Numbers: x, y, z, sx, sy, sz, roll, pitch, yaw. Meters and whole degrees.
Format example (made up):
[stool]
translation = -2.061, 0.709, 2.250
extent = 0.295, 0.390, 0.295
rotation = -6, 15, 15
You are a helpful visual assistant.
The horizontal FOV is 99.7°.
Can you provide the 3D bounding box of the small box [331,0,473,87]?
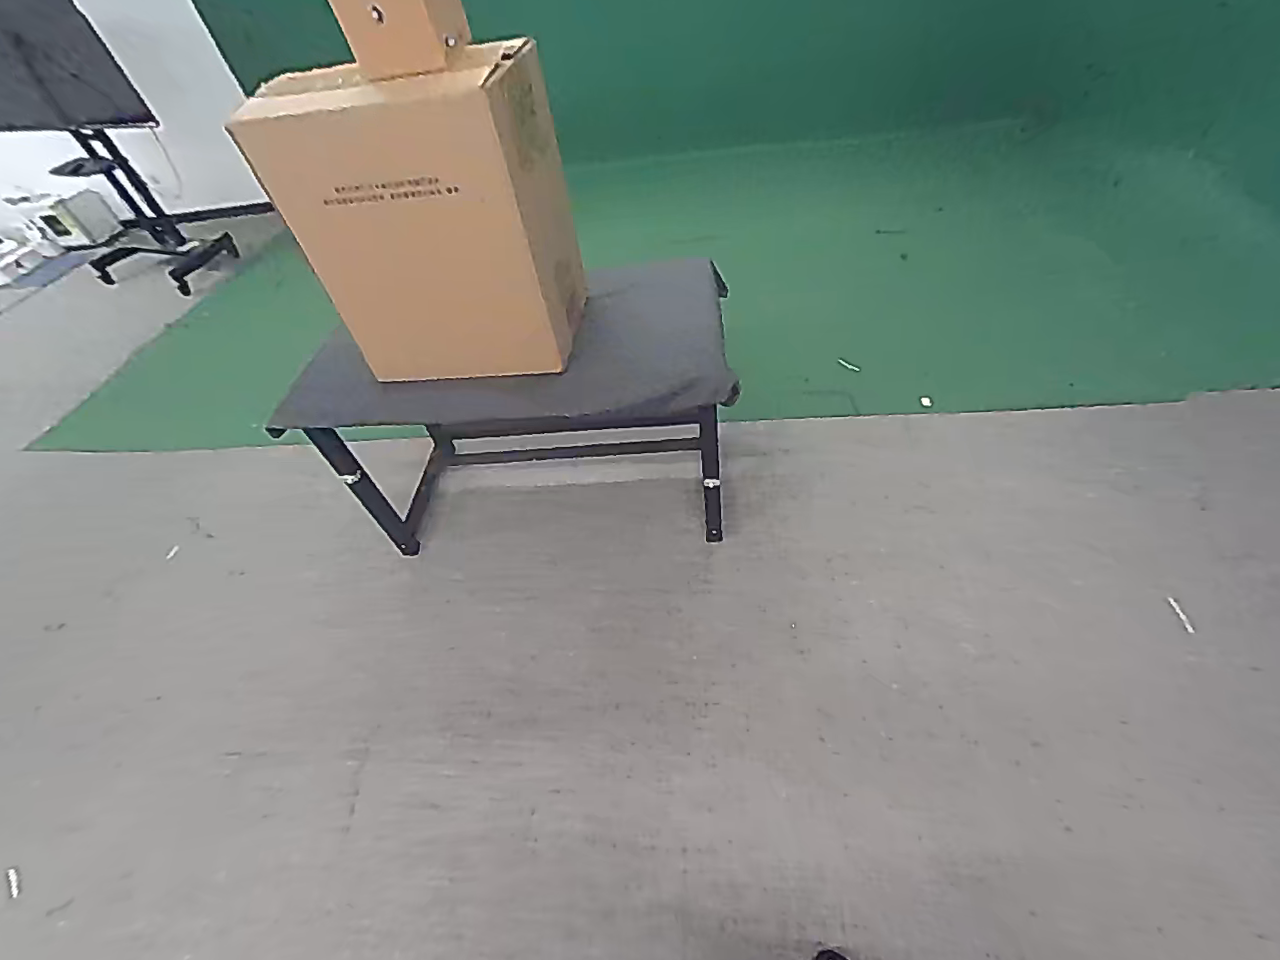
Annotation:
[small box]
translation = -0.440, -0.873, 1.015
extent = 0.179, 0.176, 0.168
rotation = 0, 55, 11
